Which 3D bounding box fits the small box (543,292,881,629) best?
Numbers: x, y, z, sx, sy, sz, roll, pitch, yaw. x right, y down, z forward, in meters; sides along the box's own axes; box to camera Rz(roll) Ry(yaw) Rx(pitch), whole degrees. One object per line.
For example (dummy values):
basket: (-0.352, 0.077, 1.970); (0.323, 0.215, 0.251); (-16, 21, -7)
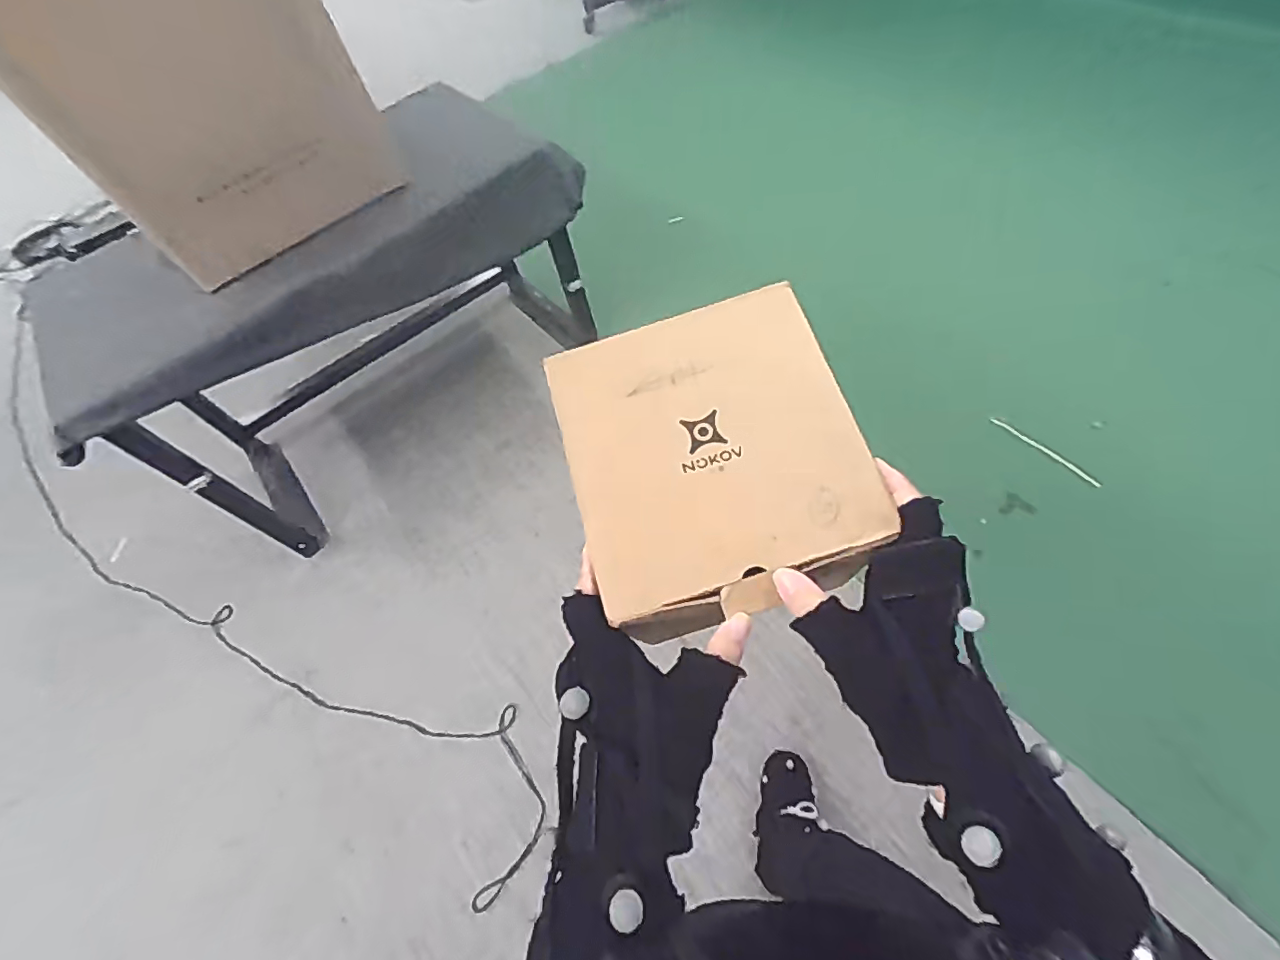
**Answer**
small box: (0.046, 0.003, 0.400); (0.168, 0.176, 0.179); (-17, 67, 1)
